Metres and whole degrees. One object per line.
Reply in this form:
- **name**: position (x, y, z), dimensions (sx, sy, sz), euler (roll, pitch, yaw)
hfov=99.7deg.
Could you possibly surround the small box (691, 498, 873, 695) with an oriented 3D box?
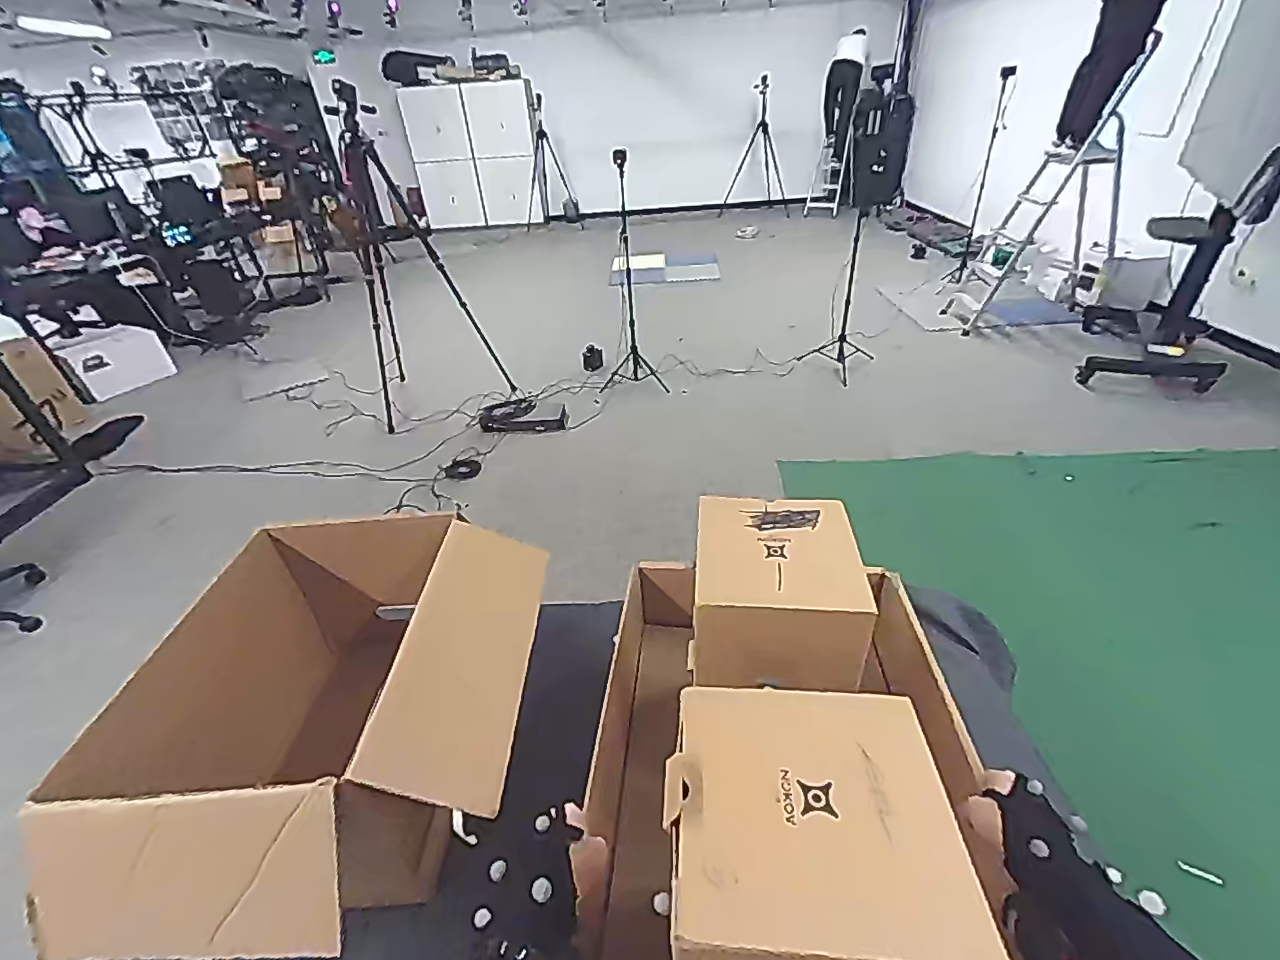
- **small box**: position (0.146, 0.140, 0.615), dimensions (0.168, 0.176, 0.179), euler (2, 35, 7)

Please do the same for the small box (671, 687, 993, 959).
- **small box**: position (0.114, 0.281, 0.404), dimensions (0.179, 0.176, 0.168), euler (2, 32, 5)
